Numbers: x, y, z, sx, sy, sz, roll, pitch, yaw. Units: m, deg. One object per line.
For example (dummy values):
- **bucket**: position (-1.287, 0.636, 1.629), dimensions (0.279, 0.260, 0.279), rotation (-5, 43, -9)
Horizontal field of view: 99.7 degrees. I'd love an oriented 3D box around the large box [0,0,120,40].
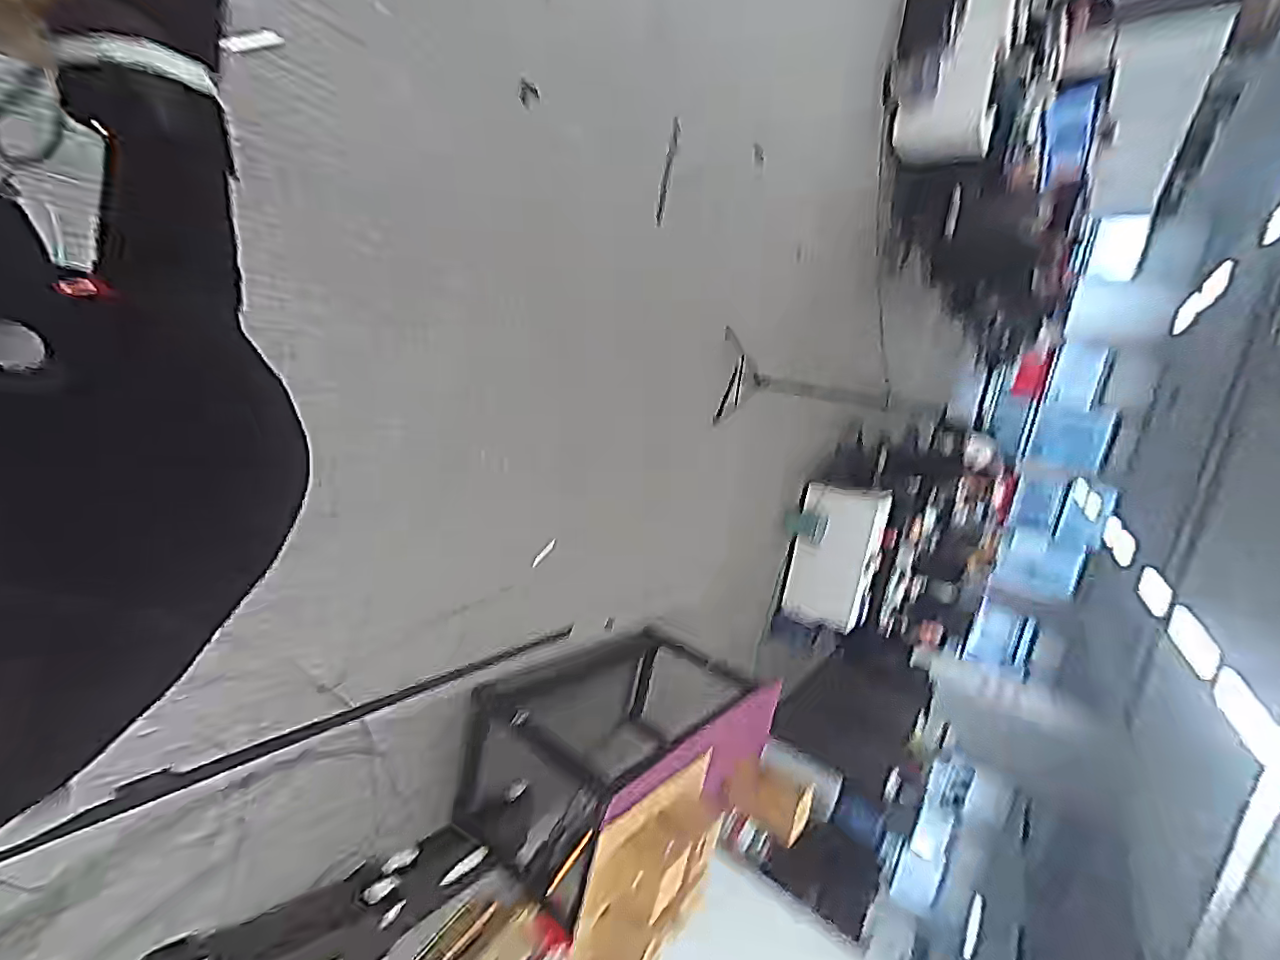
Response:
- **large box**: position (-0.541, -0.460, 0.219), dimensions (0.408, 0.320, 0.320), rotation (-14, 124, -55)
